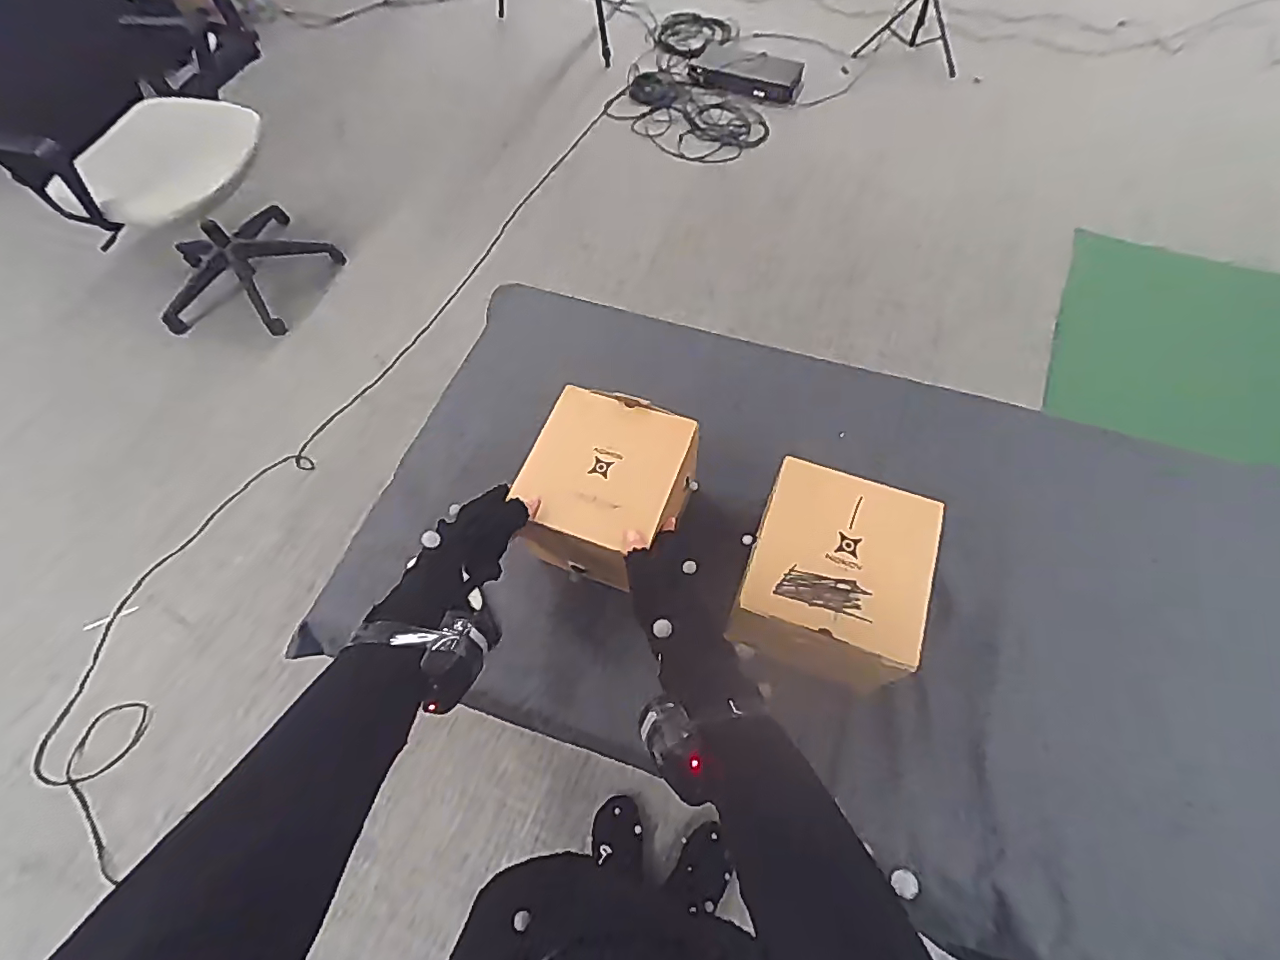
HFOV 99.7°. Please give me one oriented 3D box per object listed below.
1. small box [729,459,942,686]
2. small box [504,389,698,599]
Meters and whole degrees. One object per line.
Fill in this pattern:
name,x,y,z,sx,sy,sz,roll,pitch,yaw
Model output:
small box,0.202,0.110,0.599,0.168,0.176,0.179,19,65,12
small box,-0.036,0.023,0.660,0.168,0.176,0.179,17,66,13
